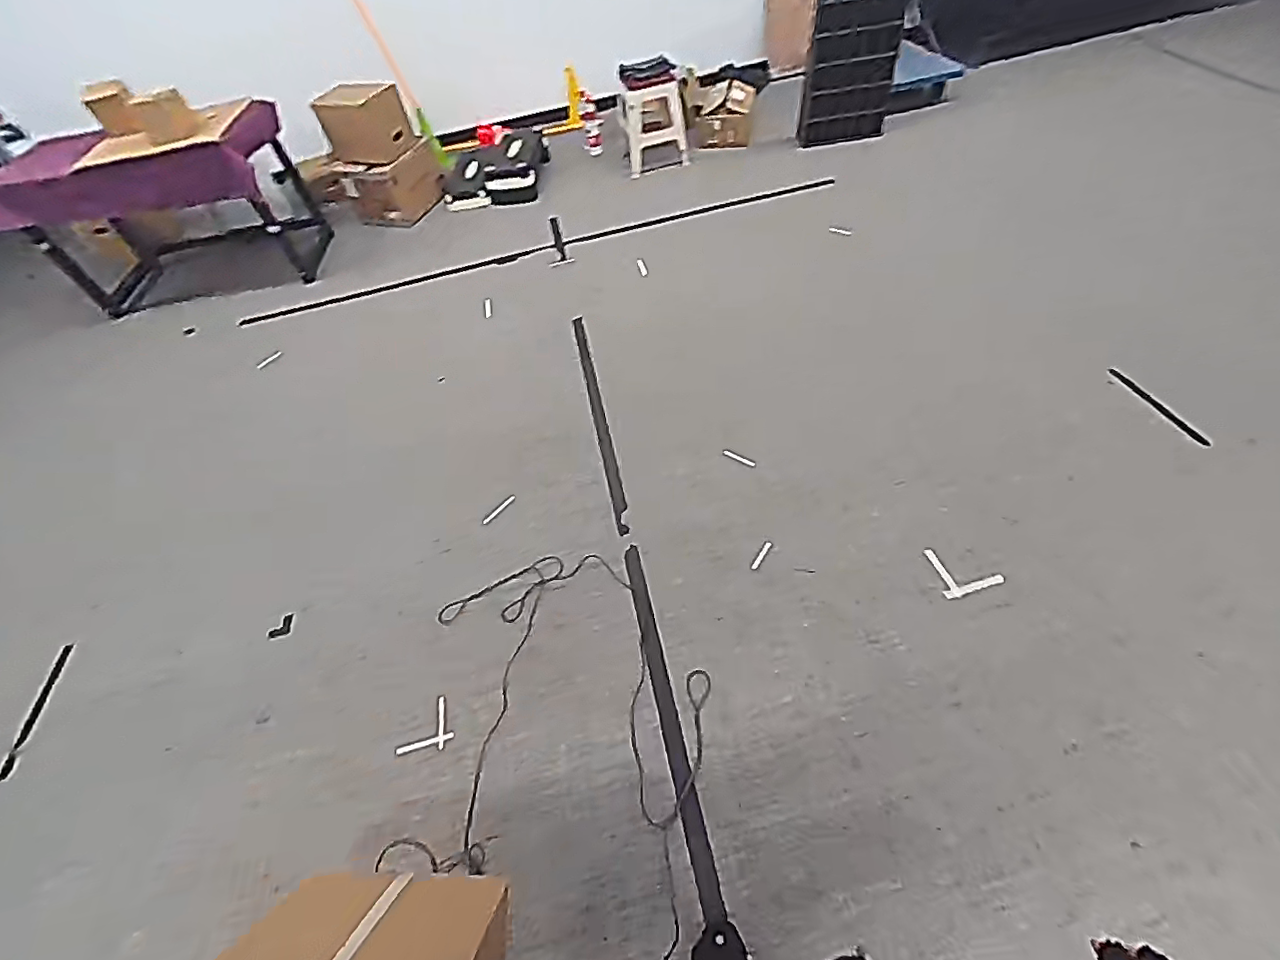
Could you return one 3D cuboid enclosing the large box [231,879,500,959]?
[{"bbox_3d":[-0.369,0.753,0.630,0.320,0.408,0.320,-1,83,1],"label":"large box"}]
